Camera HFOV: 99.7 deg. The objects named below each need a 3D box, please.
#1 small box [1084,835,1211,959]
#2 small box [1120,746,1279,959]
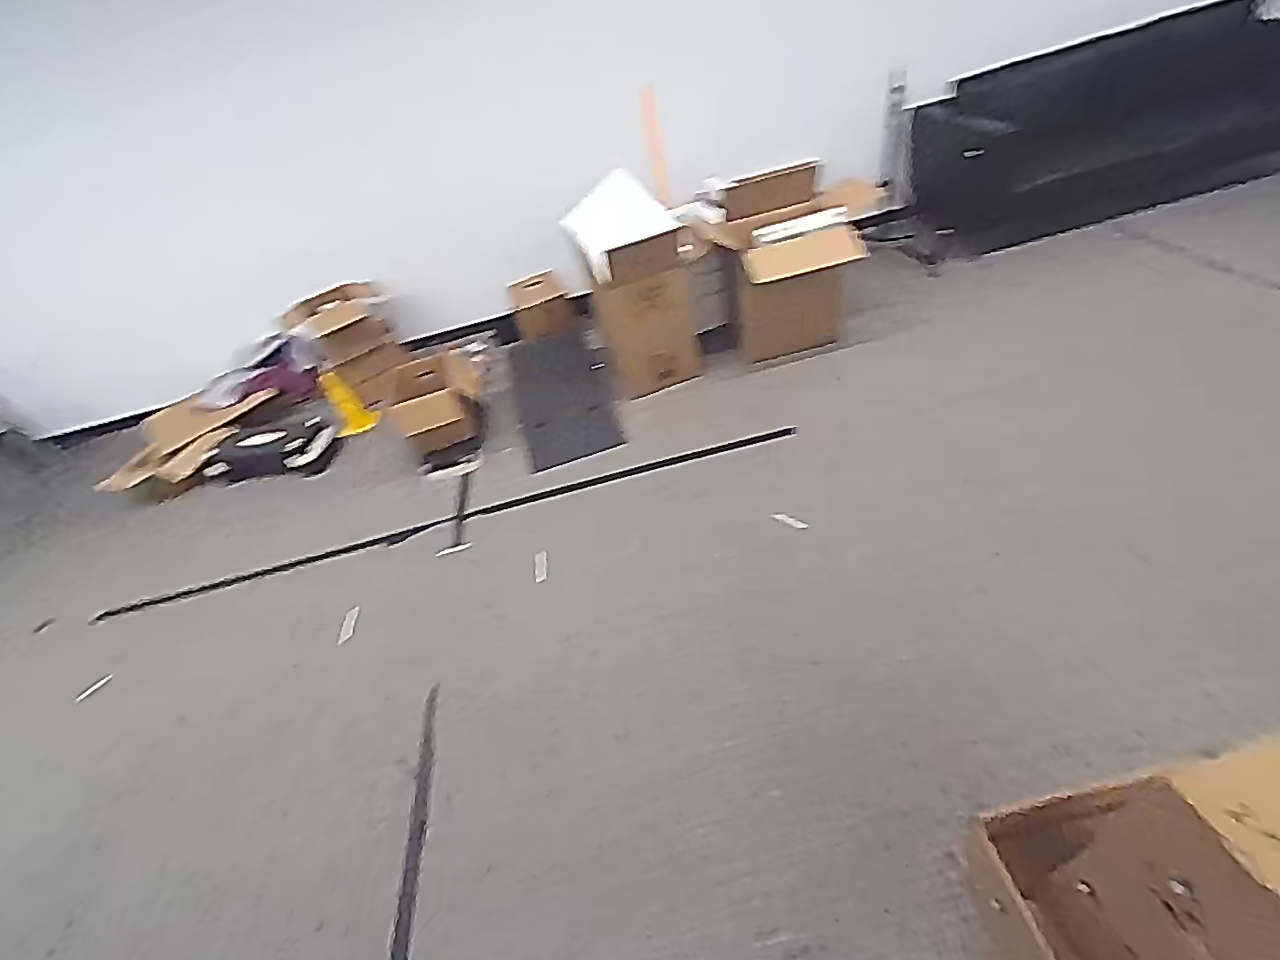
[{"bbox_3d":[0.718,0.548,0.688,0.179,0.176,0.168,-15,41,-3],"label":"small box"},{"bbox_3d":[0.693,0.417,0.589,0.179,0.176,0.168,-16,41,-4],"label":"small box"}]
